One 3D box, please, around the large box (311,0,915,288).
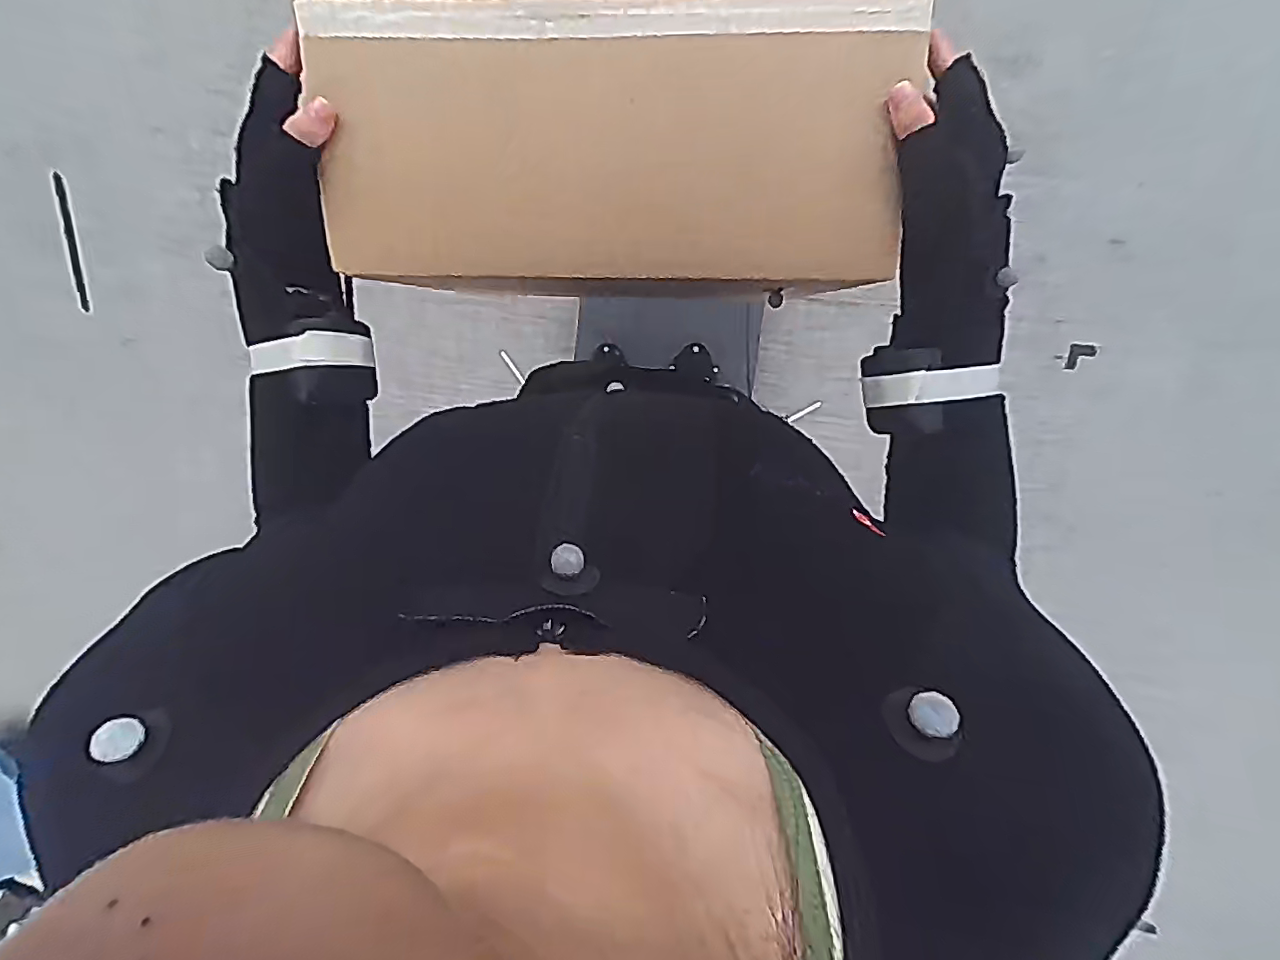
[{"bbox_3d":[-0.013,-0.345,0.499,0.408,0.320,0.320,2,106,2],"label":"large box"}]
